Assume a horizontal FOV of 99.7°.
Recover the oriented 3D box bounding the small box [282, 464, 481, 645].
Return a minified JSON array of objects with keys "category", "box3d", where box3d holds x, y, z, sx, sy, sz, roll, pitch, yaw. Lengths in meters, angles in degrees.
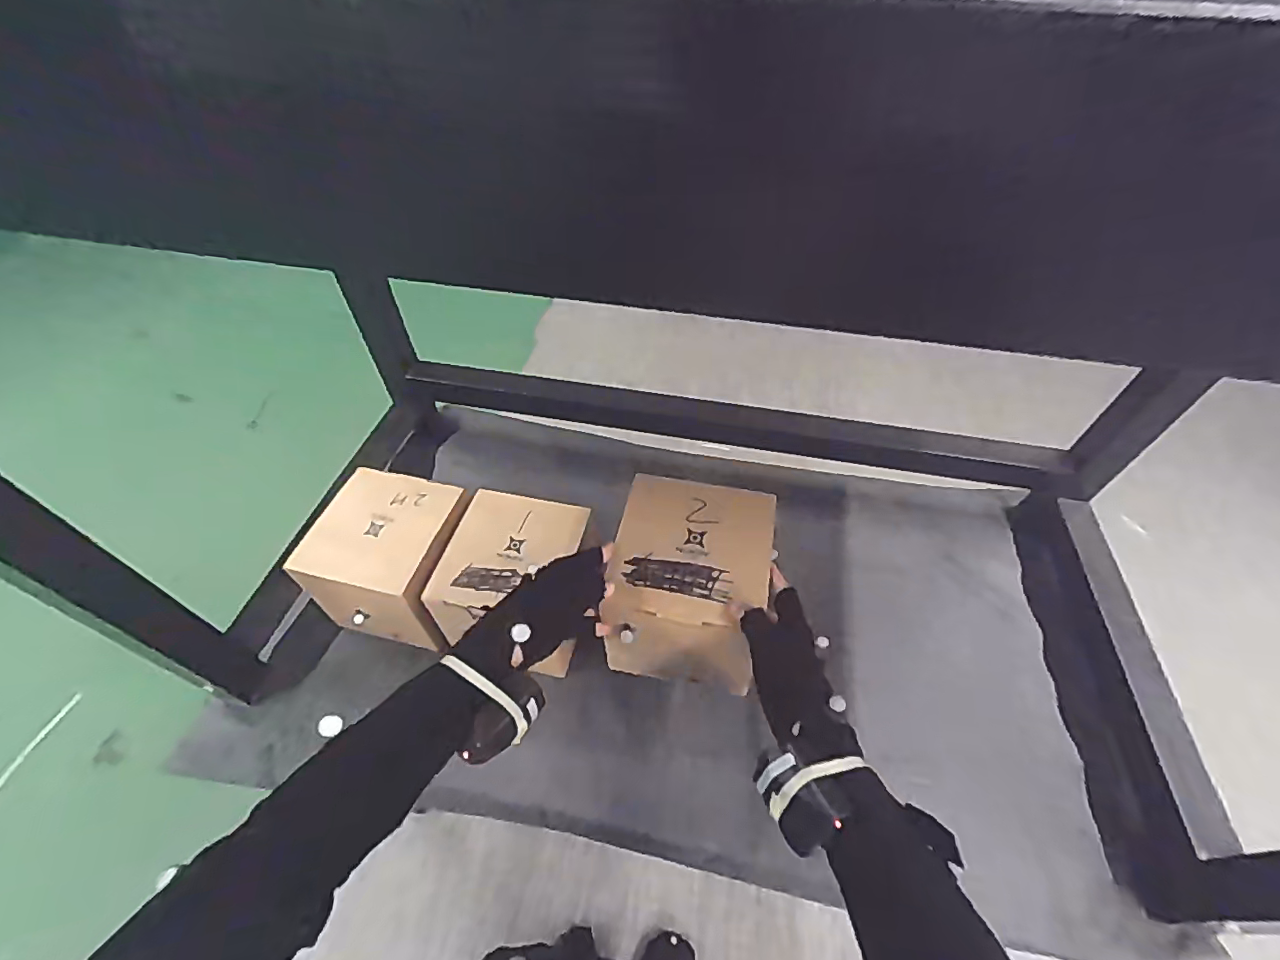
[{"category":"small box","box3d":[-0.343,0.109,0.764,0.168,0.176,0.179,12,51,8]}]
